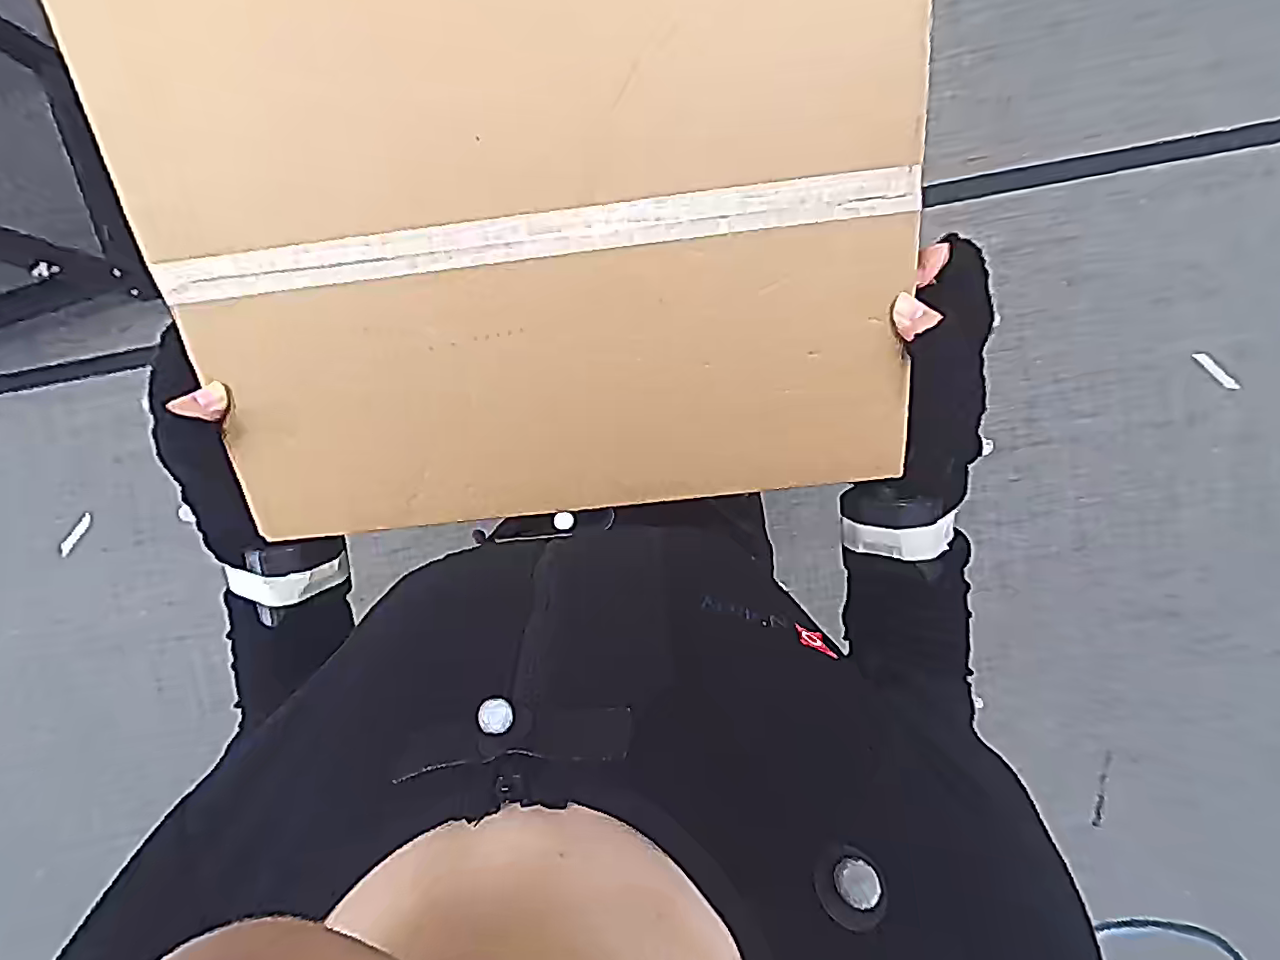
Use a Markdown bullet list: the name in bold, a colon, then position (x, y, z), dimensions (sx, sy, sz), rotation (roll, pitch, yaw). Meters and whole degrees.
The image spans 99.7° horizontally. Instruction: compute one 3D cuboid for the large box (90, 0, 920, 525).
- **large box**: position (-0.055, -0.185, 0.435), dimensions (0.408, 0.320, 0.320), rotation (-6, 111, 2)
